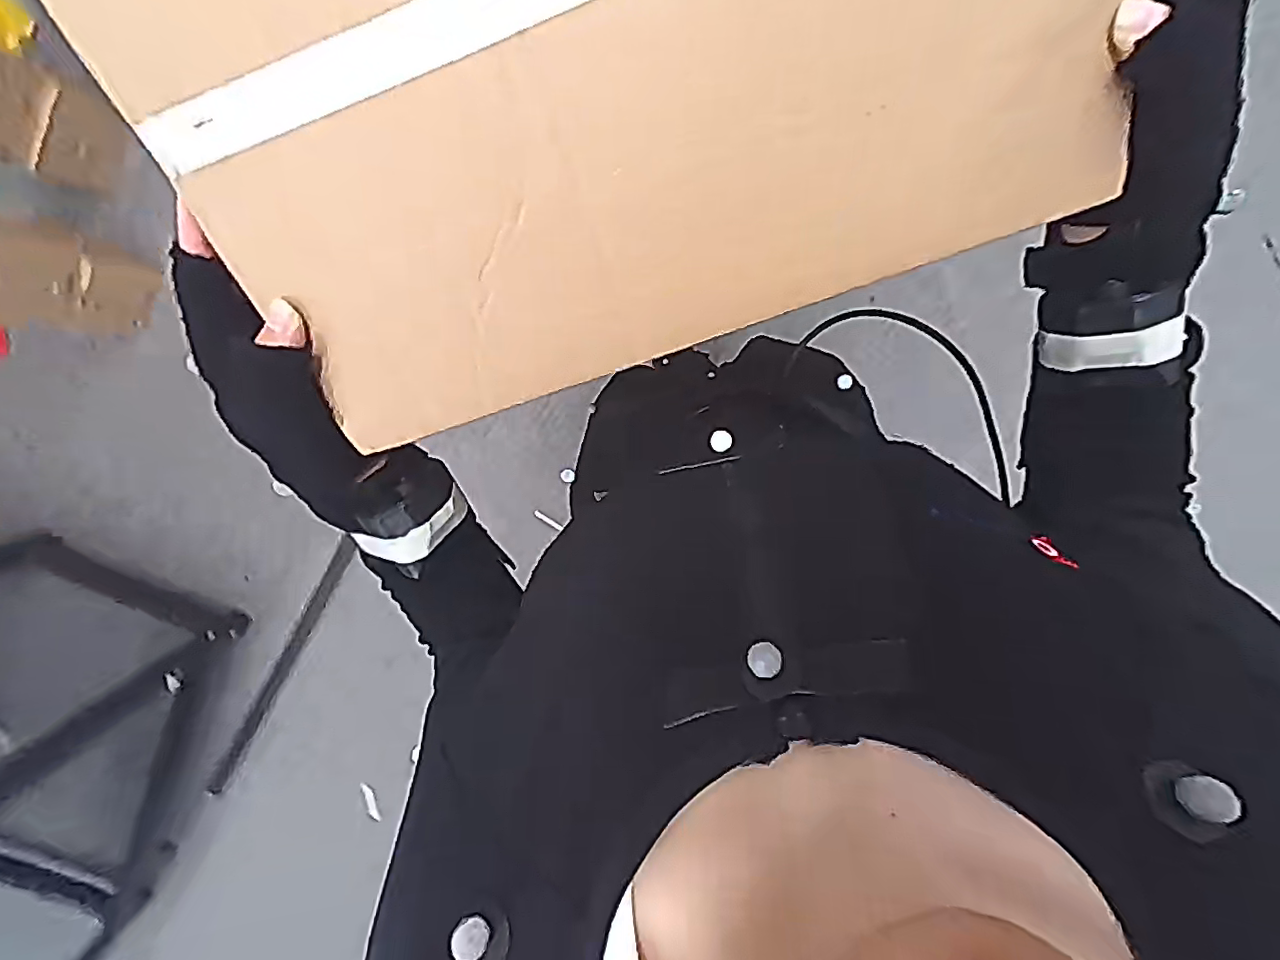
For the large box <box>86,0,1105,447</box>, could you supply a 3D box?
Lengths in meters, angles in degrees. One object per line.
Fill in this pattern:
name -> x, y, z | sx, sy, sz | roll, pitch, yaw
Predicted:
large box -> -0.018, -0.275, 0.346 | 0.408, 0.320, 0.320 | -17, 119, 7
